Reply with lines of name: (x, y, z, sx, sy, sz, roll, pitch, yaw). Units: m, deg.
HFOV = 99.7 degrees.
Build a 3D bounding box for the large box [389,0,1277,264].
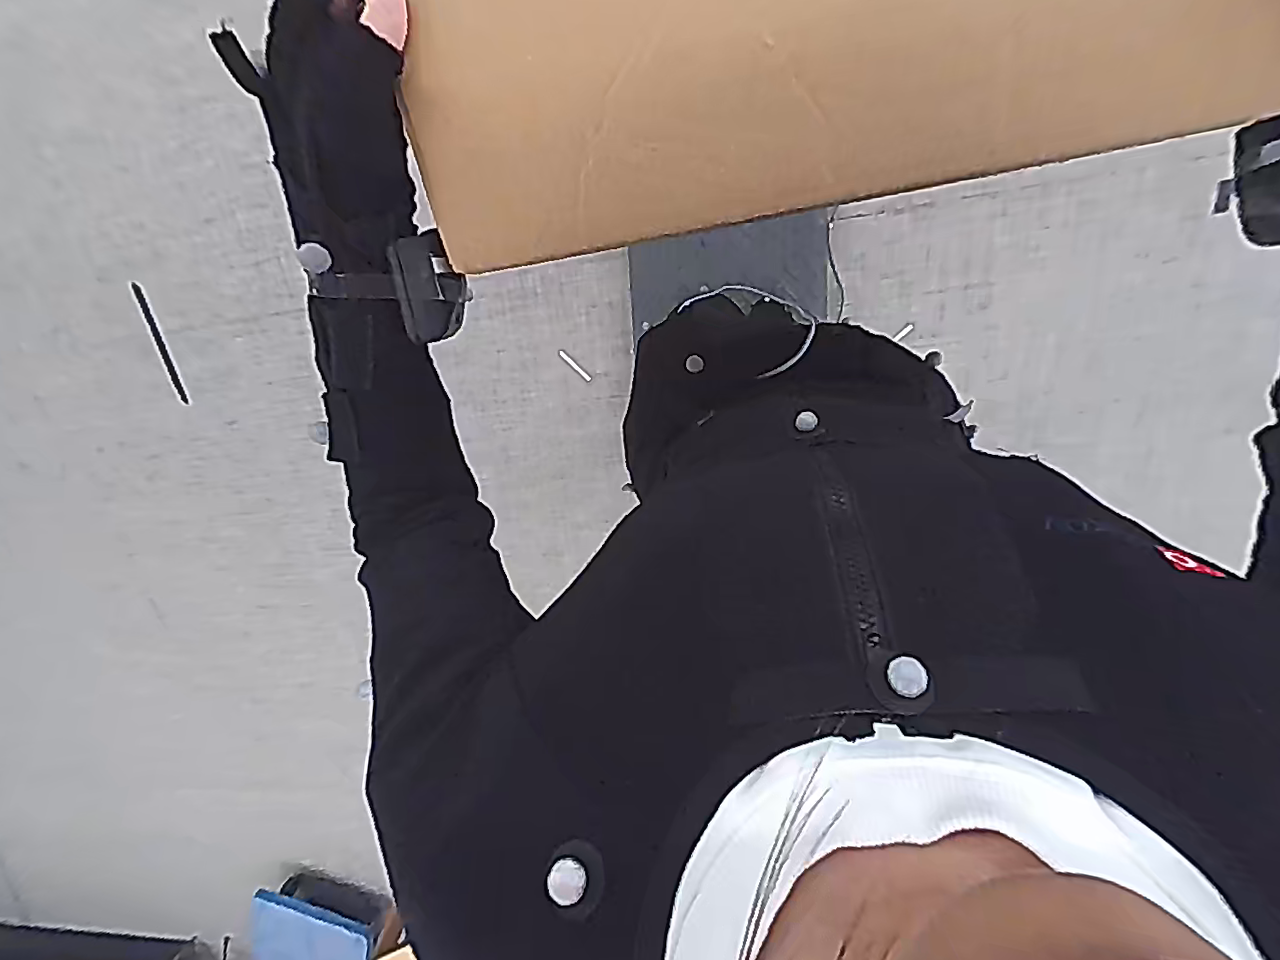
large box: (0.078, -0.355, 0.357, 0.408, 0.320, 0.320, -7, 116, 11)
